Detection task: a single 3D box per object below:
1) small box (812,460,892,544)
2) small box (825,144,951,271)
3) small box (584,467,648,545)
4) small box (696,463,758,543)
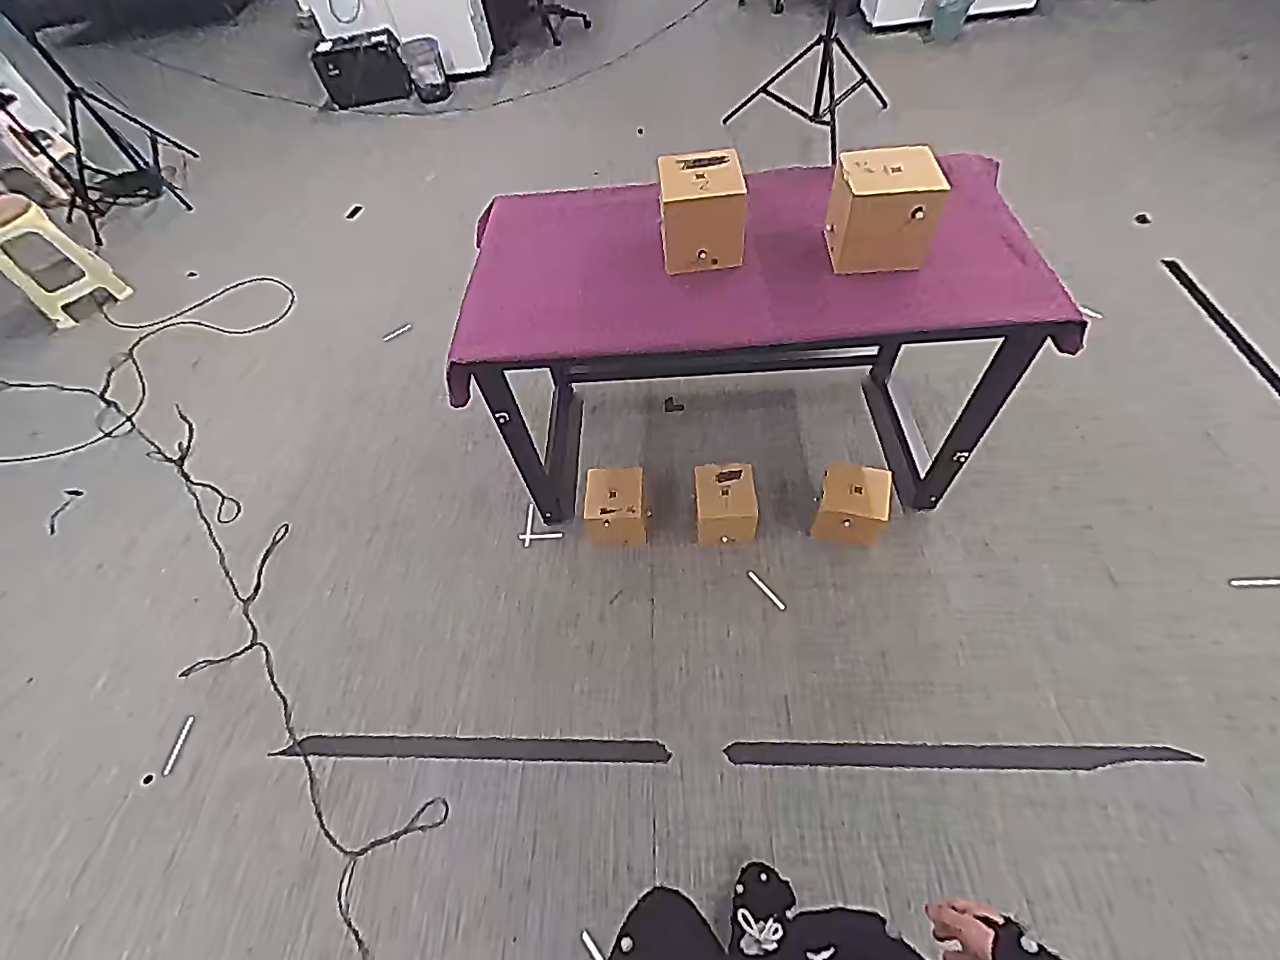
[{"bbox_3d":[0.605,0.067,1.551,0.179,0.176,0.168,11,59,16],"label":"small box"},{"bbox_3d":[0.489,-0.546,1.093,0.179,0.176,0.168,-1,55,7],"label":"small box"},{"bbox_3d":[-0.065,0.078,1.623,0.168,0.176,0.179,-1,55,6],"label":"small box"},{"bbox_3d":[0.250,0.069,1.590,0.168,0.176,0.179,-3,57,5],"label":"small box"}]
